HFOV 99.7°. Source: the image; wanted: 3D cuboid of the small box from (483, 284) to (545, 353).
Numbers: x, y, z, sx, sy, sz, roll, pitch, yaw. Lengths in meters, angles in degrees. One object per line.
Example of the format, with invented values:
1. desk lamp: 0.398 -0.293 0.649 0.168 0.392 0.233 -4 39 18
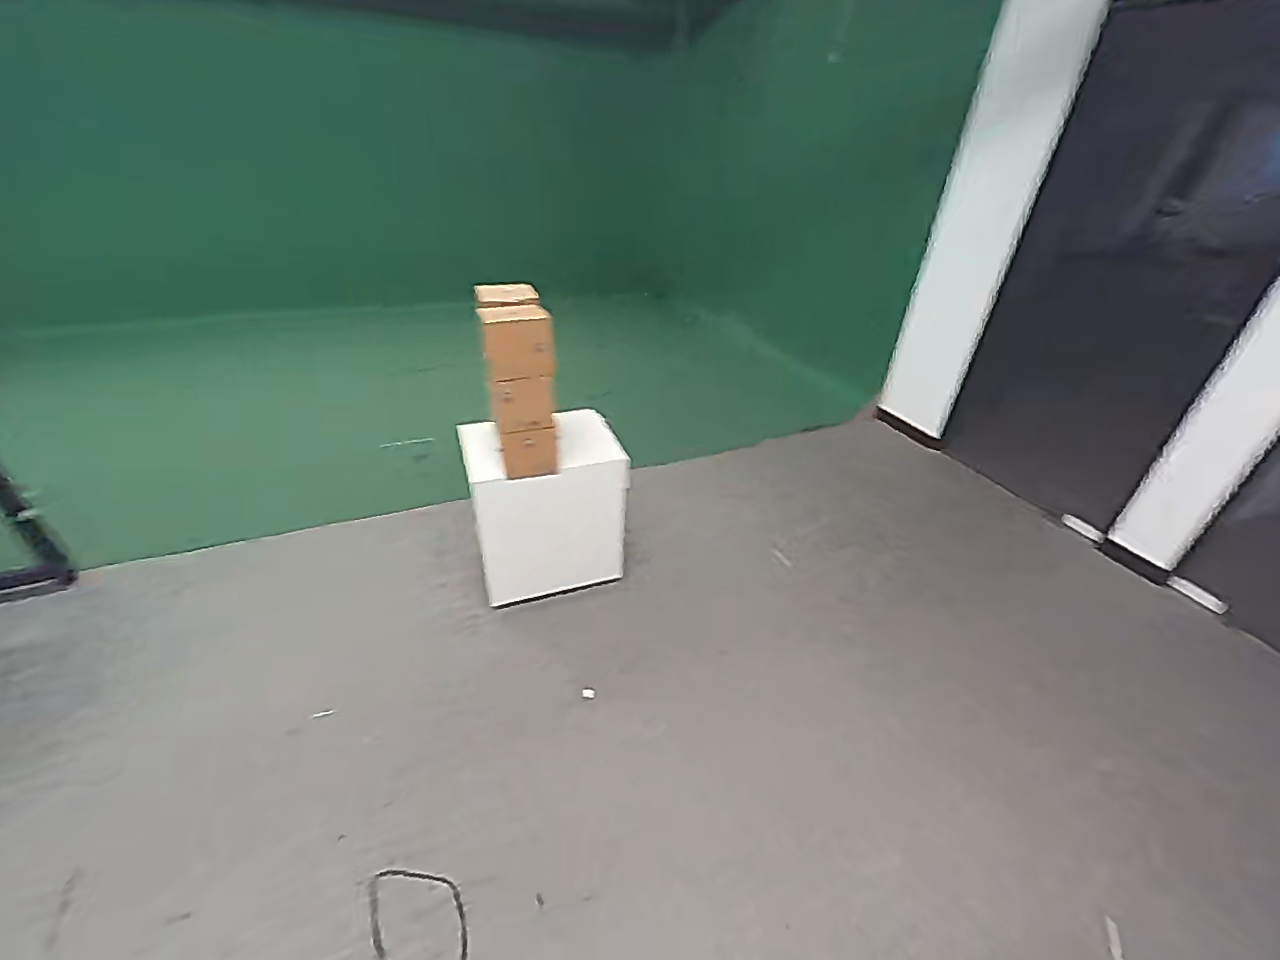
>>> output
1. small box: -0.405 -0.517 1.743 0.168 0.176 0.179 -9 37 -17

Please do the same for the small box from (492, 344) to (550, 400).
1. small box: -0.407 -0.386 1.842 0.179 0.176 0.168 -9 36 -17

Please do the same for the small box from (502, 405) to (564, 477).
1. small box: -0.345 -0.128 1.756 0.179 0.176 0.168 -9 34 -17
